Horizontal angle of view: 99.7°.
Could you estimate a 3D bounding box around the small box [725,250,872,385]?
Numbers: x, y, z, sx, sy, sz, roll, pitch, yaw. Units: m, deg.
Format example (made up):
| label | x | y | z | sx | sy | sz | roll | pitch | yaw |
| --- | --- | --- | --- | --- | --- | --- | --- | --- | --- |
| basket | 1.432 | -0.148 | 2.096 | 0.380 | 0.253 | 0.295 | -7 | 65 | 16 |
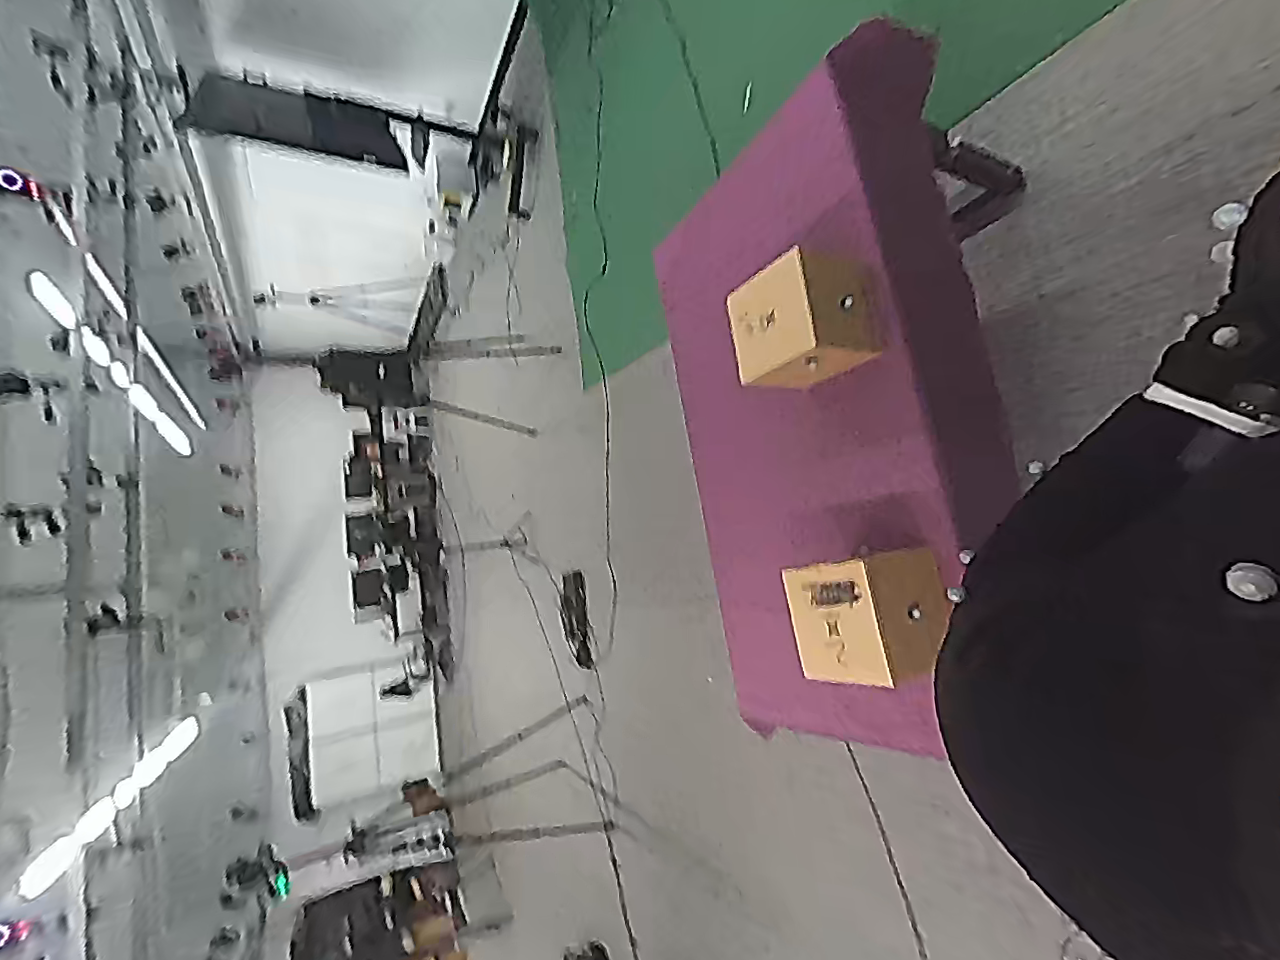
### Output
| label | x | y | z | sx | sy | sz | roll | pitch | yaw |
| --- | --- | --- | --- | --- | --- | --- | --- | --- | --- |
| small box | 0.279 | -0.270 | 0.942 | 0.179 | 0.176 | 0.168 | -20 | 76 | 58 |
